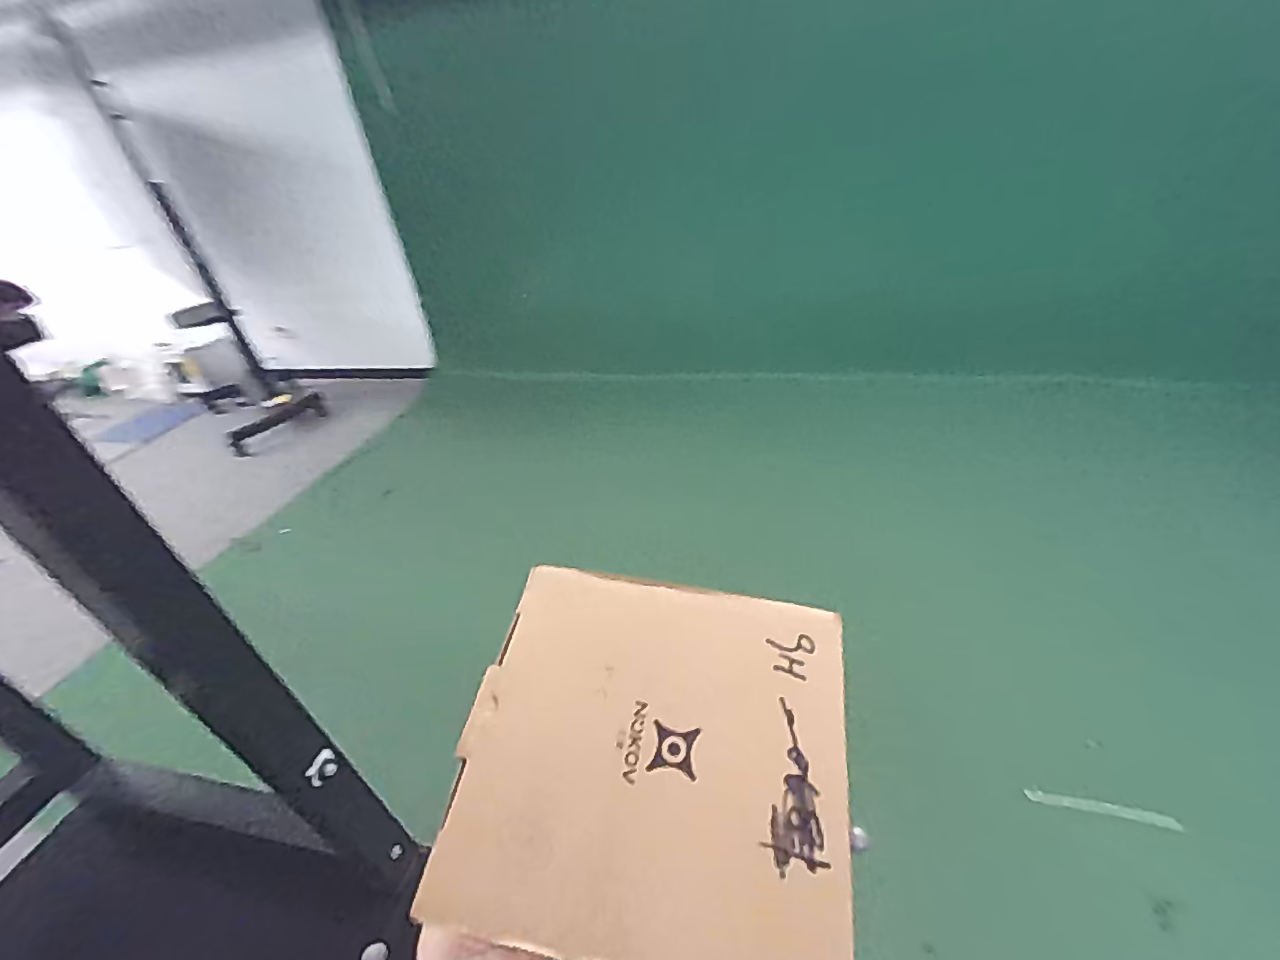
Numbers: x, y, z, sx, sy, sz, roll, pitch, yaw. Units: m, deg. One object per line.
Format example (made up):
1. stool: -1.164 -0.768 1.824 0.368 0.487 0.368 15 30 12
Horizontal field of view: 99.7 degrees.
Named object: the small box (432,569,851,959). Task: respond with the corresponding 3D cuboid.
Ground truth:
1. small box: 0.015 0.176 0.325 0.179 0.176 0.168 8 52 9
